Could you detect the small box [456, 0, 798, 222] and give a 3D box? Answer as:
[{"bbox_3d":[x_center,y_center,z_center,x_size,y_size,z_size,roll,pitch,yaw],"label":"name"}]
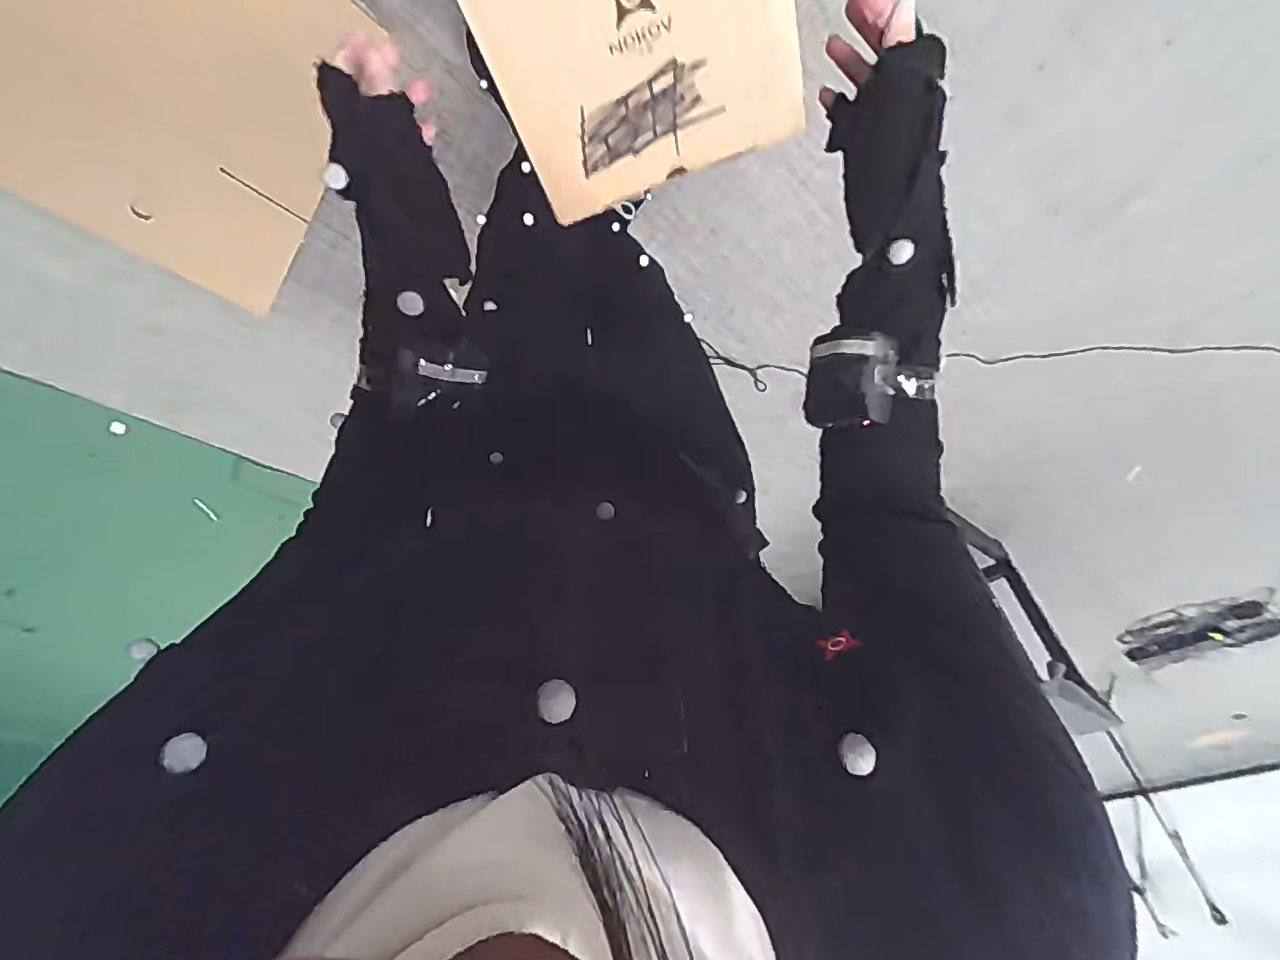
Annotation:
[{"bbox_3d":[-0.009,-0.305,0.337,0.168,0.176,0.179,-15,138,13],"label":"small box"}]
